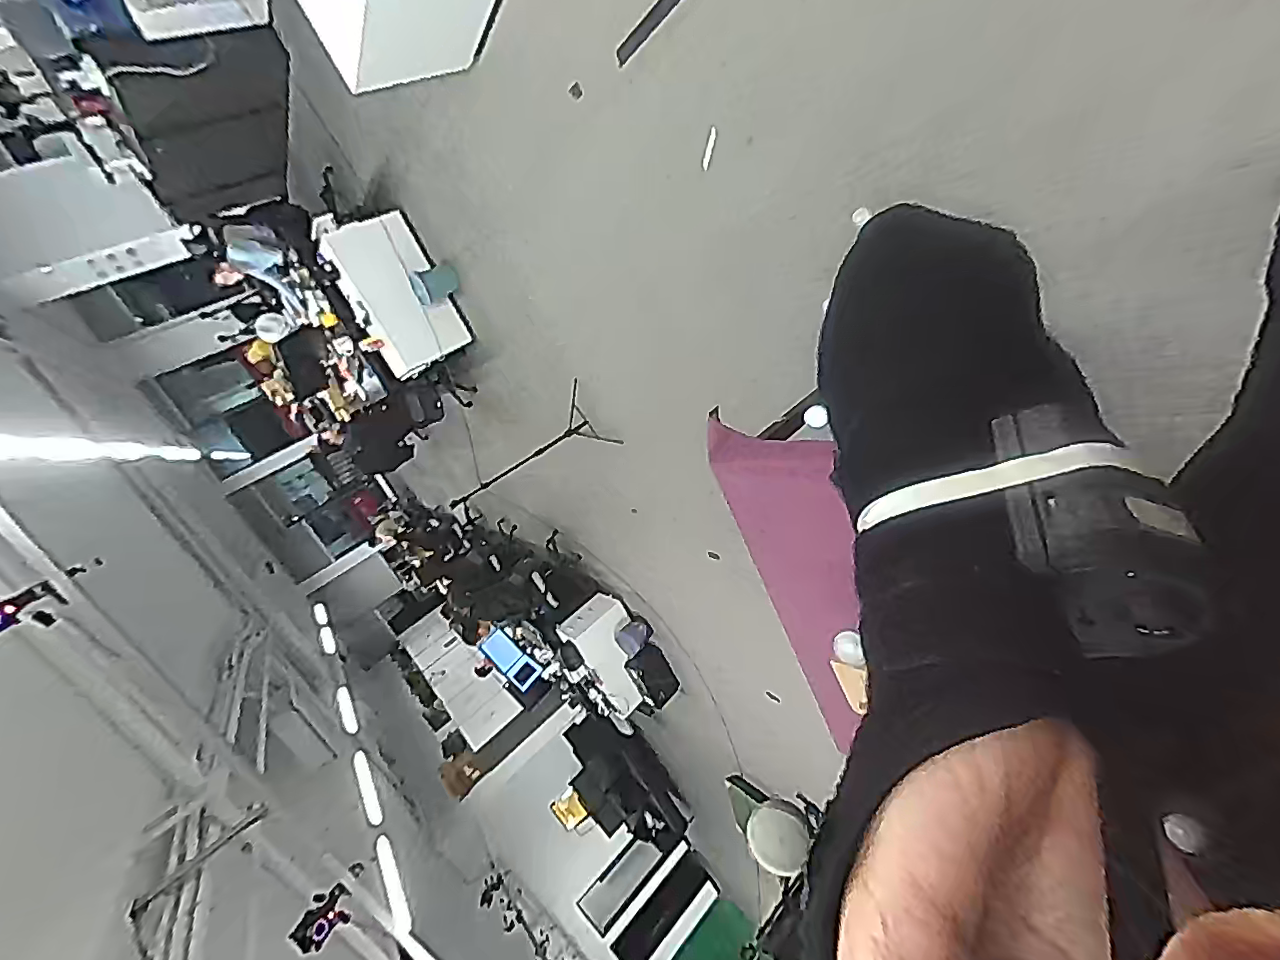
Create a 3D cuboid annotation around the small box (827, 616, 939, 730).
[{"bbox_3d":[0.606,0.469,1.340,0.168,0.176,0.179,-2,120,58],"label":"small box"}]
